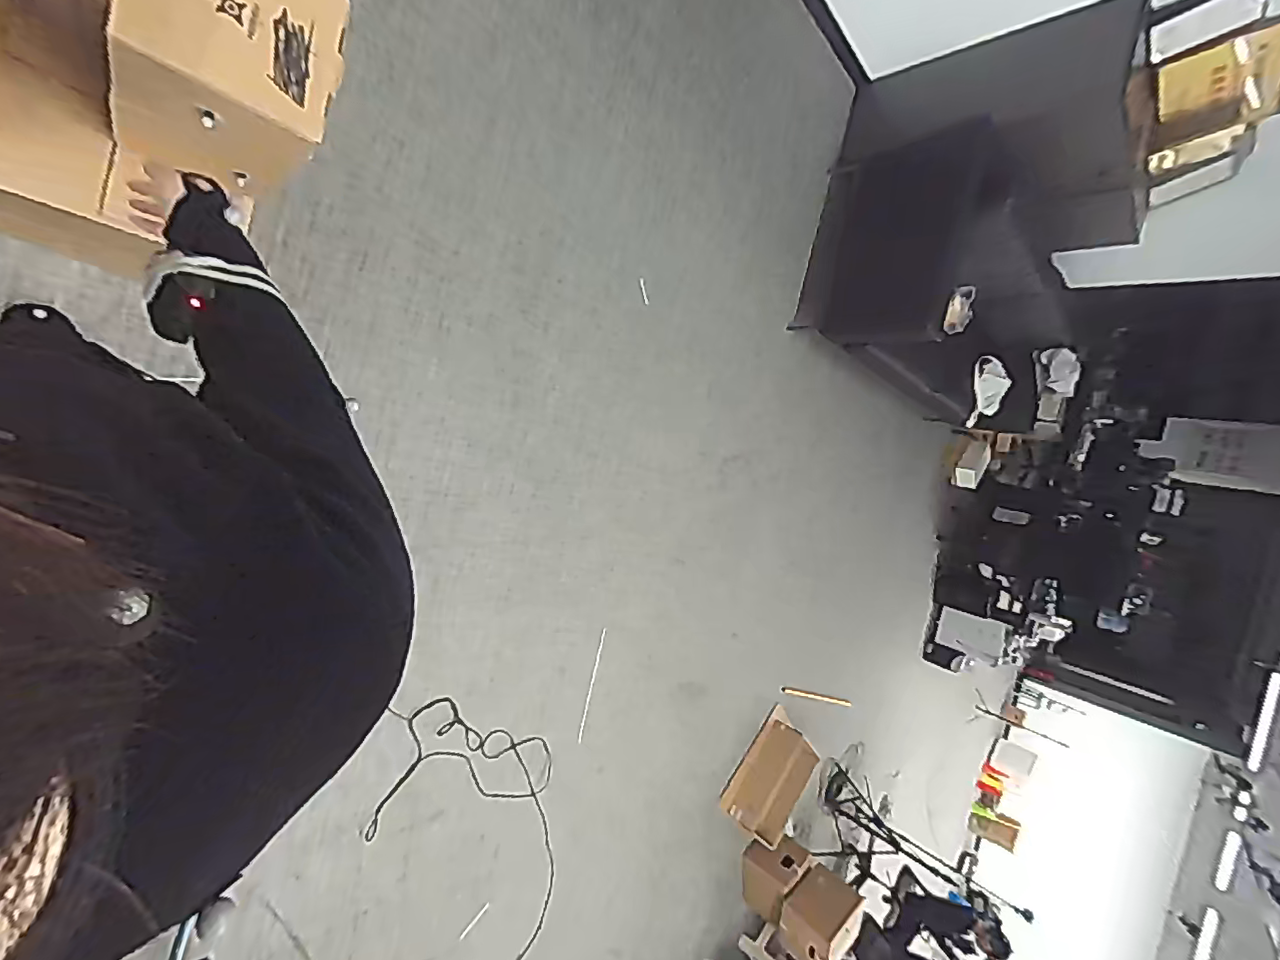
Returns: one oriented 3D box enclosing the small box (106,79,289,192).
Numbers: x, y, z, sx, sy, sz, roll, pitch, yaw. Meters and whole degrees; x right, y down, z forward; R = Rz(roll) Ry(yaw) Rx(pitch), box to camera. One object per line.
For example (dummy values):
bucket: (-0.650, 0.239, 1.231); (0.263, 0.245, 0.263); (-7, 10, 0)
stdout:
small box: (-0.571, -0.509, 0.717); (0.179, 0.176, 0.168); (11, 92, -44)

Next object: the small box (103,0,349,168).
small box: (-0.457, -0.479, 0.602); (0.179, 0.176, 0.168); (13, 91, -44)
